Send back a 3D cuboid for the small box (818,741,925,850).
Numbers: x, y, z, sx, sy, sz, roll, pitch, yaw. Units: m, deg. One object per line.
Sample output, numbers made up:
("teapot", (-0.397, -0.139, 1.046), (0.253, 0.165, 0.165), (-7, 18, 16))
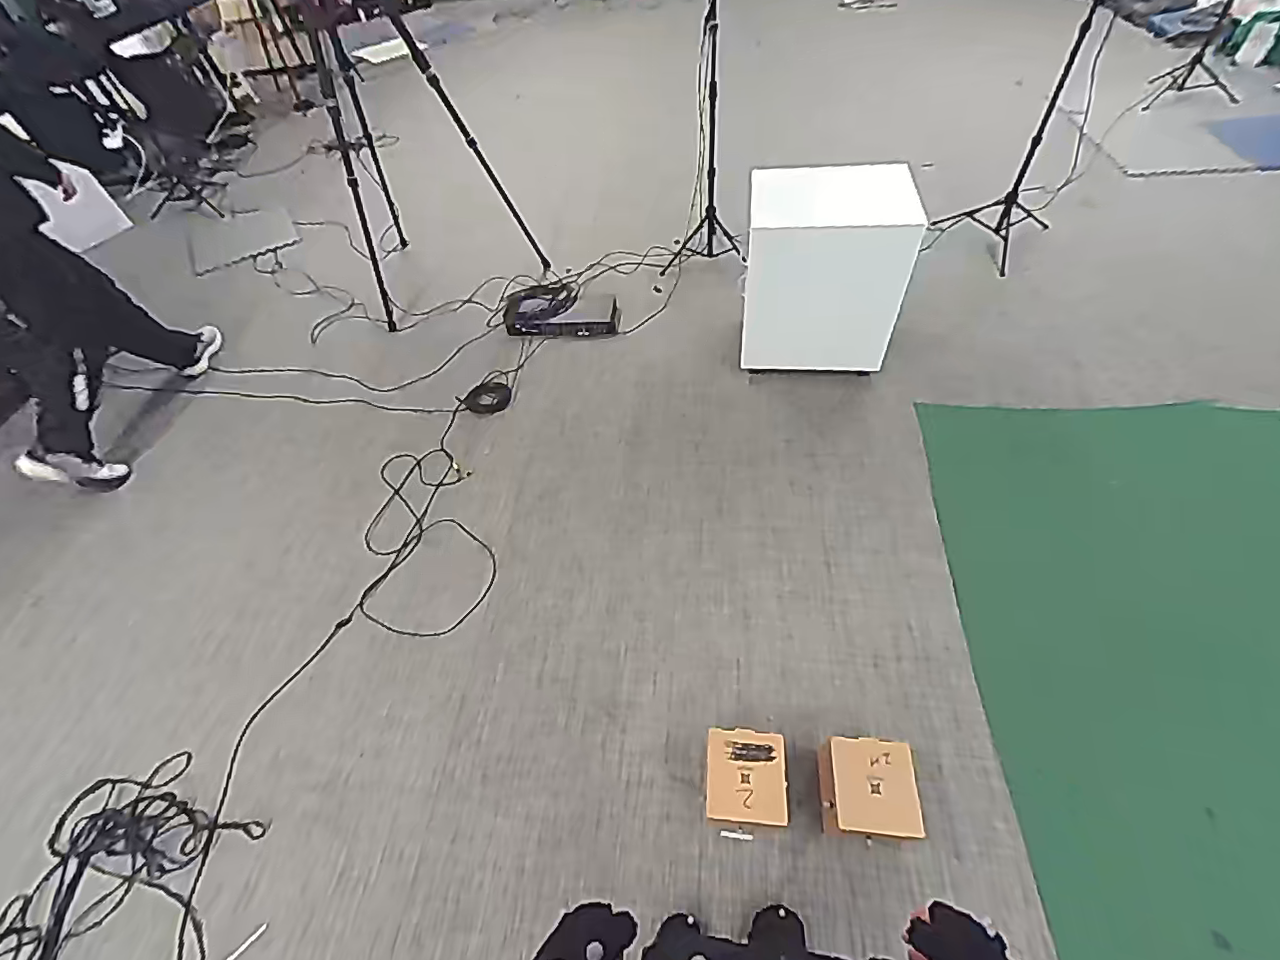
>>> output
("small box", (0.488, 0.683, 1.166), (0.168, 0.176, 0.179), (2, 52, 7))
